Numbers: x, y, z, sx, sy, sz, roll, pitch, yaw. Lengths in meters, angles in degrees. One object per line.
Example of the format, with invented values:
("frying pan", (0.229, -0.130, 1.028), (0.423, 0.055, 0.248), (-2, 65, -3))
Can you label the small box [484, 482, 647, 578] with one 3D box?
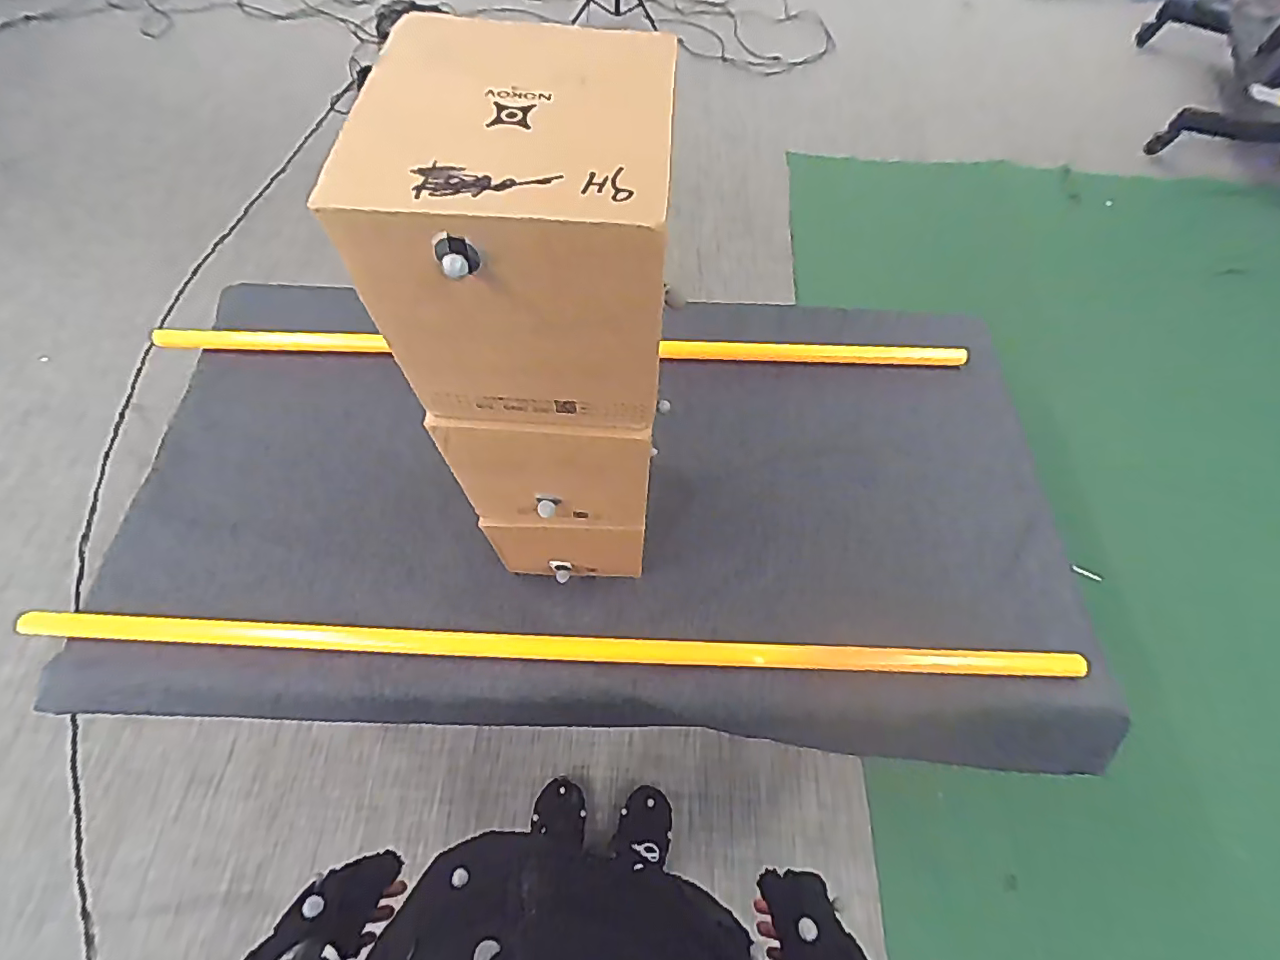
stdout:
("small box", (-0.076, 0.007, 0.646), (0.168, 0.176, 0.179), (0, 64, 0))

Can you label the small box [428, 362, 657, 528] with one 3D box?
("small box", (-0.070, -0.072, 0.502), (0.168, 0.176, 0.179), (4, 63, 1))

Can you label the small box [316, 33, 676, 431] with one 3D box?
("small box", (-0.067, -0.155, 0.361), (0.168, 0.176, 0.179), (3, 62, 2))
